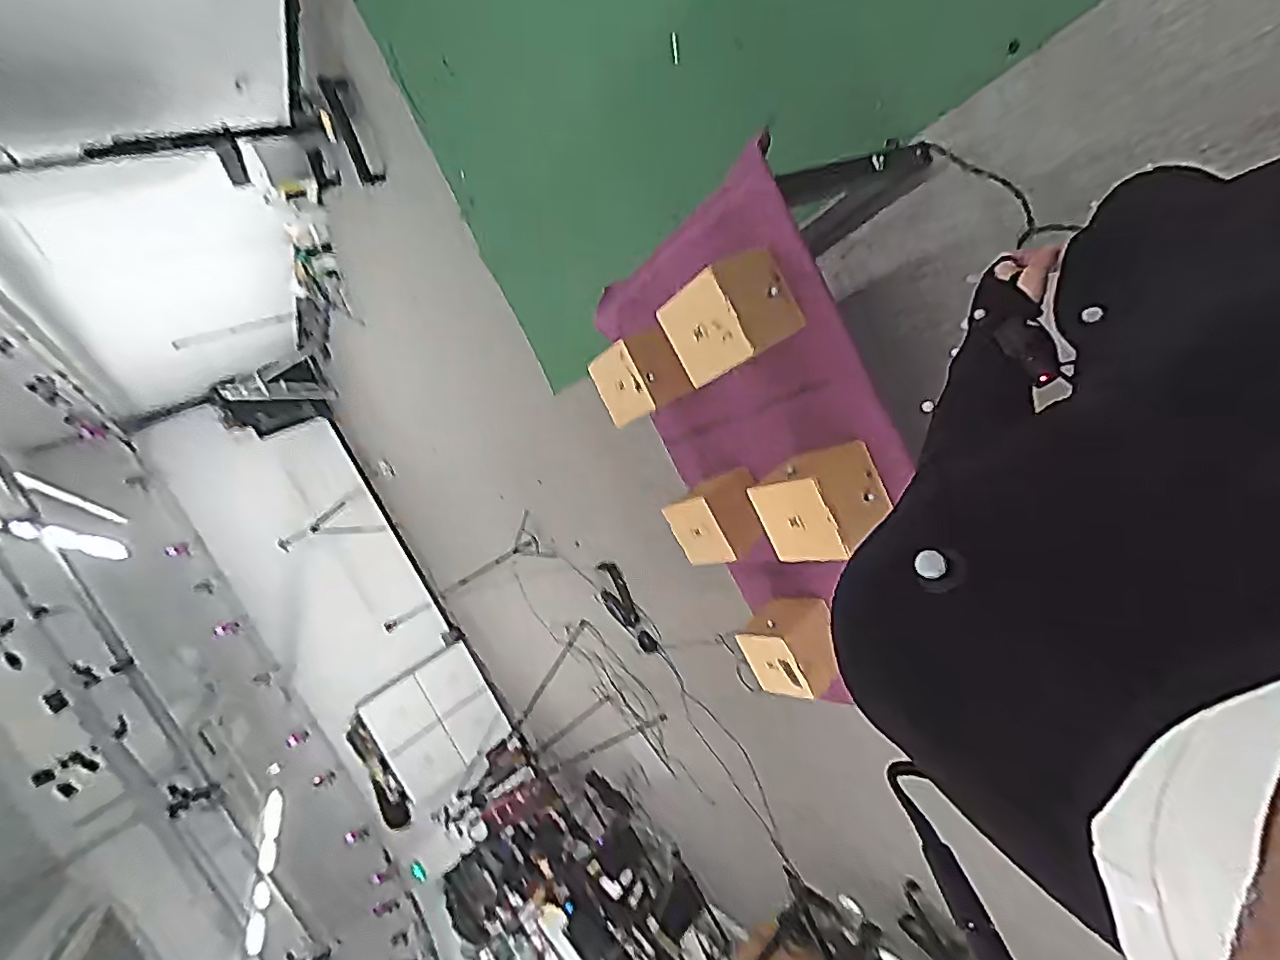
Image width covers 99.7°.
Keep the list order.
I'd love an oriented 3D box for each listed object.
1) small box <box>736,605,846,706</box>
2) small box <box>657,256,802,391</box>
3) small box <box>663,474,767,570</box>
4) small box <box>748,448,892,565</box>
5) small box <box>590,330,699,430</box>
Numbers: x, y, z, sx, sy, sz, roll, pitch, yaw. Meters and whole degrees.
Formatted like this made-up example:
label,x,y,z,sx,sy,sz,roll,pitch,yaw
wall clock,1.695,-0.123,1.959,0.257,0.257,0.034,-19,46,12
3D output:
label,x,y,z,sx,sy,sz,roll,pitch,yaw
small box,0.376,0.421,1.325,0.179,0.176,0.168,-22,97,58
small box,0.171,-0.295,1.030,0.179,0.176,0.168,-22,98,57
small box,0.195,0.104,1.323,0.179,0.176,0.168,-22,98,56
small box,0.355,0.054,1.065,0.179,0.176,0.168,-18,100,58
small box,0.015,-0.240,1.291,0.179,0.176,0.168,-18,101,57
